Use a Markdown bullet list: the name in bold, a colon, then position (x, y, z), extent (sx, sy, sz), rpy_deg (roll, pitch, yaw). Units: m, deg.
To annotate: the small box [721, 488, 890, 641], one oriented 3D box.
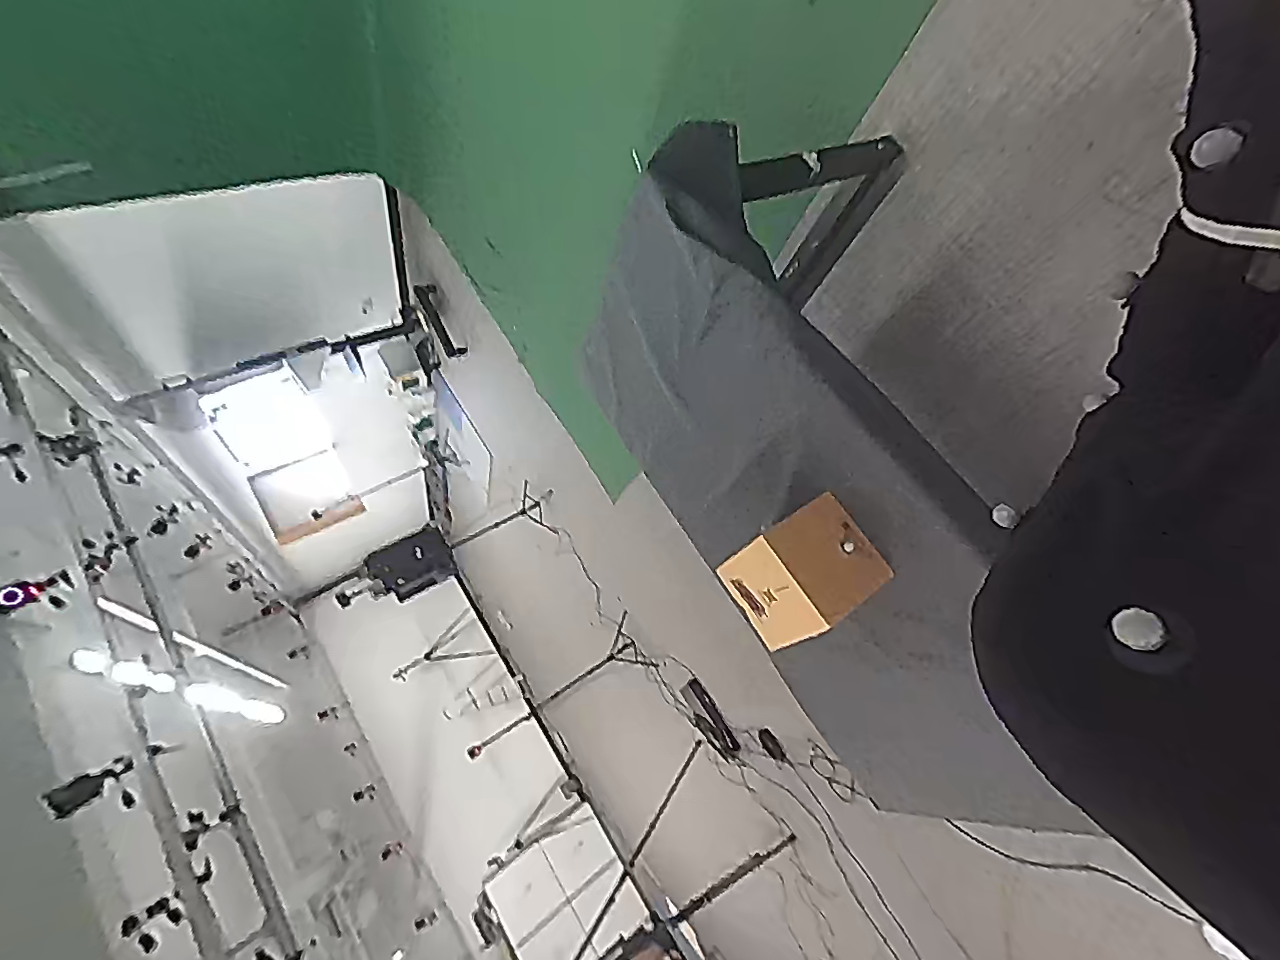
- **small box**: position (0.274, 0.142, 0.904), extent (0.168, 0.176, 0.179), rpy_deg (55, 151, 14)
